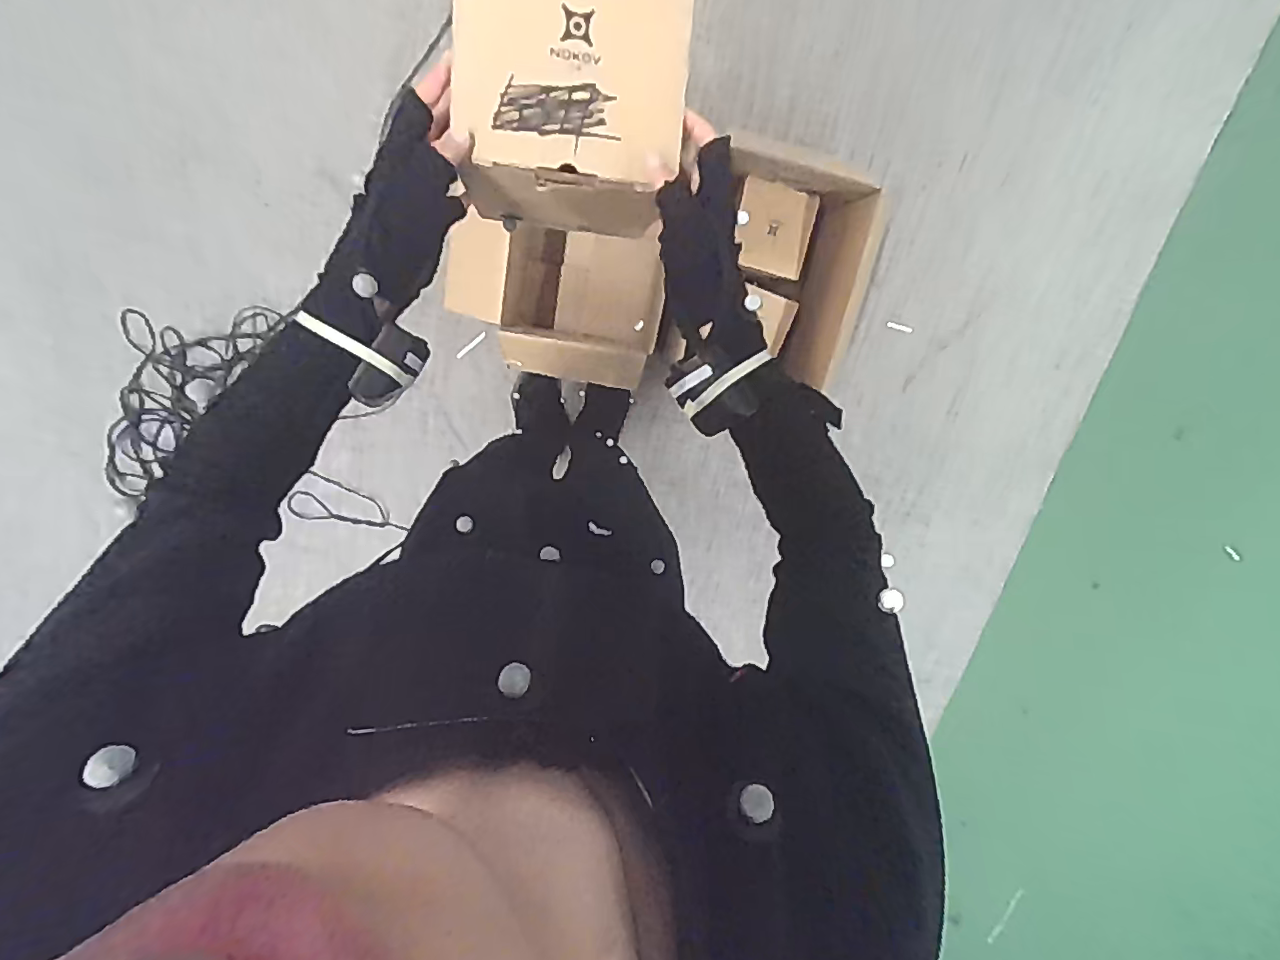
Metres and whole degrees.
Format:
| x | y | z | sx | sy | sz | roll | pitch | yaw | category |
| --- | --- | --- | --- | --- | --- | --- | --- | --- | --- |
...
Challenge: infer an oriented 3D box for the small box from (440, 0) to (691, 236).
| x | y | z | sx | sy | sz | roll | pitch | yaw | category |
| --- | --- | --- | --- | --- | --- | --- | --- | --- | --- |
| -0.060 | -0.314 | 0.442 | 0.168 | 0.176 | 0.179 | 3 | 101 | -10 | small box |
